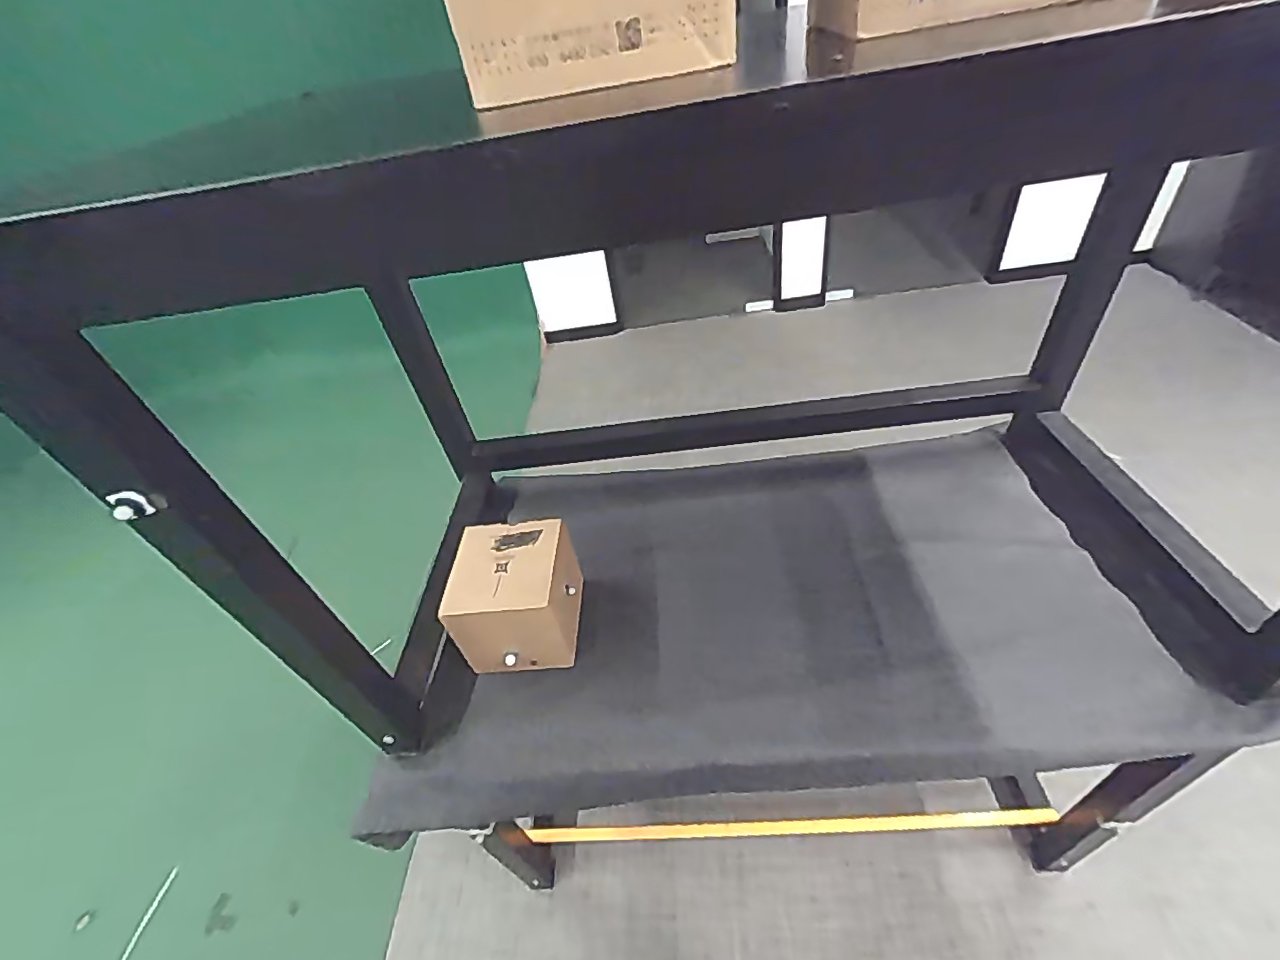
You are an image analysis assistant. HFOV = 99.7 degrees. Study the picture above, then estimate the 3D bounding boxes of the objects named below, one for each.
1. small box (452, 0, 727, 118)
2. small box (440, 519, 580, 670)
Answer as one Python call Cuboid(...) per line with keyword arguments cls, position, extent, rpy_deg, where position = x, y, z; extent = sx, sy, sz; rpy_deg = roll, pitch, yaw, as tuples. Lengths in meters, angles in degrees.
Cuboid(cls="small box", position=(-0.035, -0.358, 0.360), extent=(0.168, 0.176, 0.179), rpy_deg=(-6, 41, 6))
Cuboid(cls="small box", position=(-0.198, 0.188, 0.887), extent=(0.168, 0.176, 0.179), rpy_deg=(-6, 42, 5))
